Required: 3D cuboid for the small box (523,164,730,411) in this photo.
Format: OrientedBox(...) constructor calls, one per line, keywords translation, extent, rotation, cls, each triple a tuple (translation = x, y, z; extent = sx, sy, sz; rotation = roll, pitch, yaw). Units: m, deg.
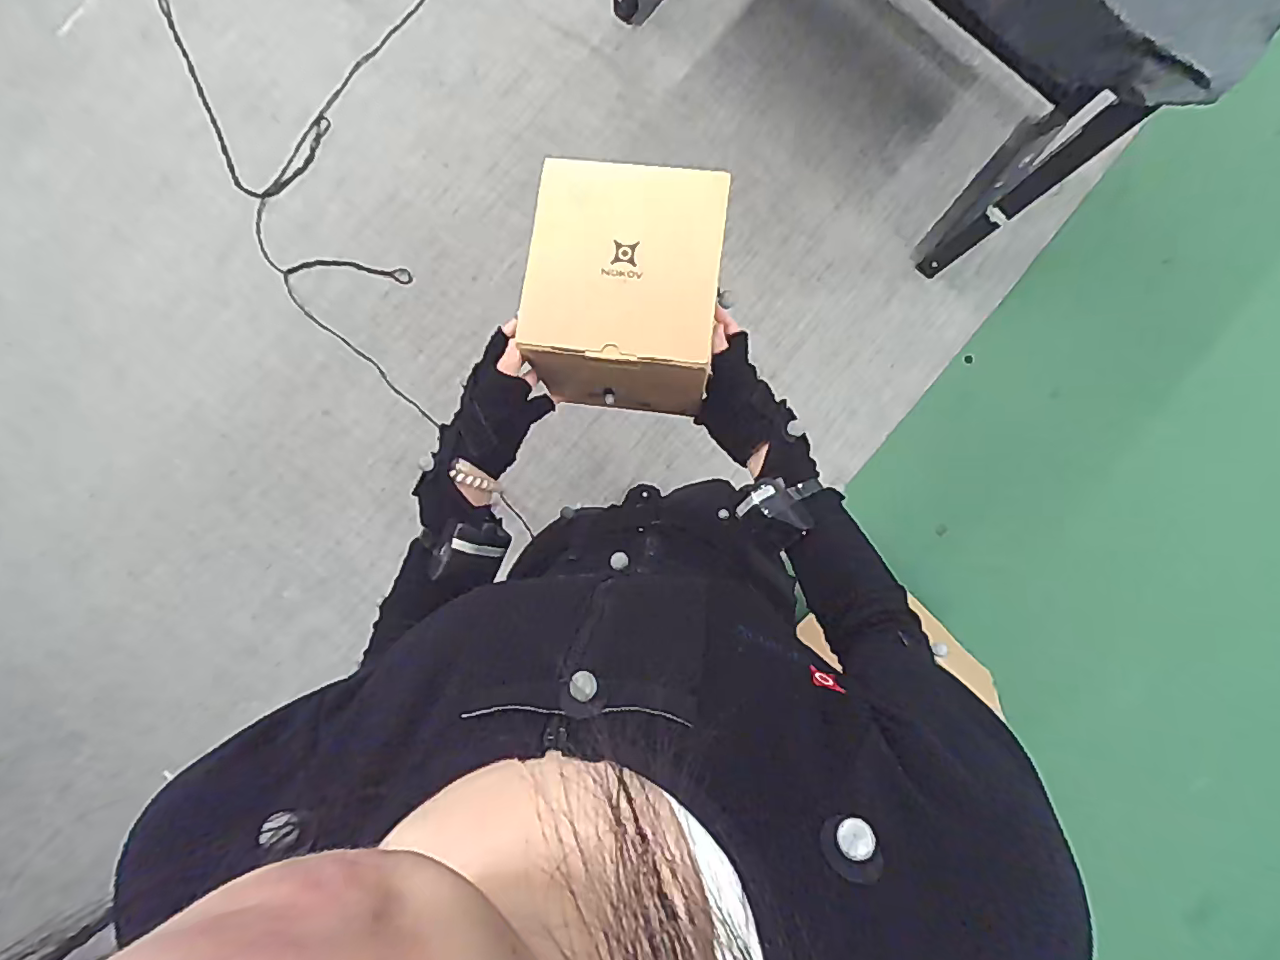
OrientedBox(translation=(-0.008, -0.182, 0.554), extent=(0.168, 0.176, 0.179), rotation=(7, 85, 4), cls="small box")
